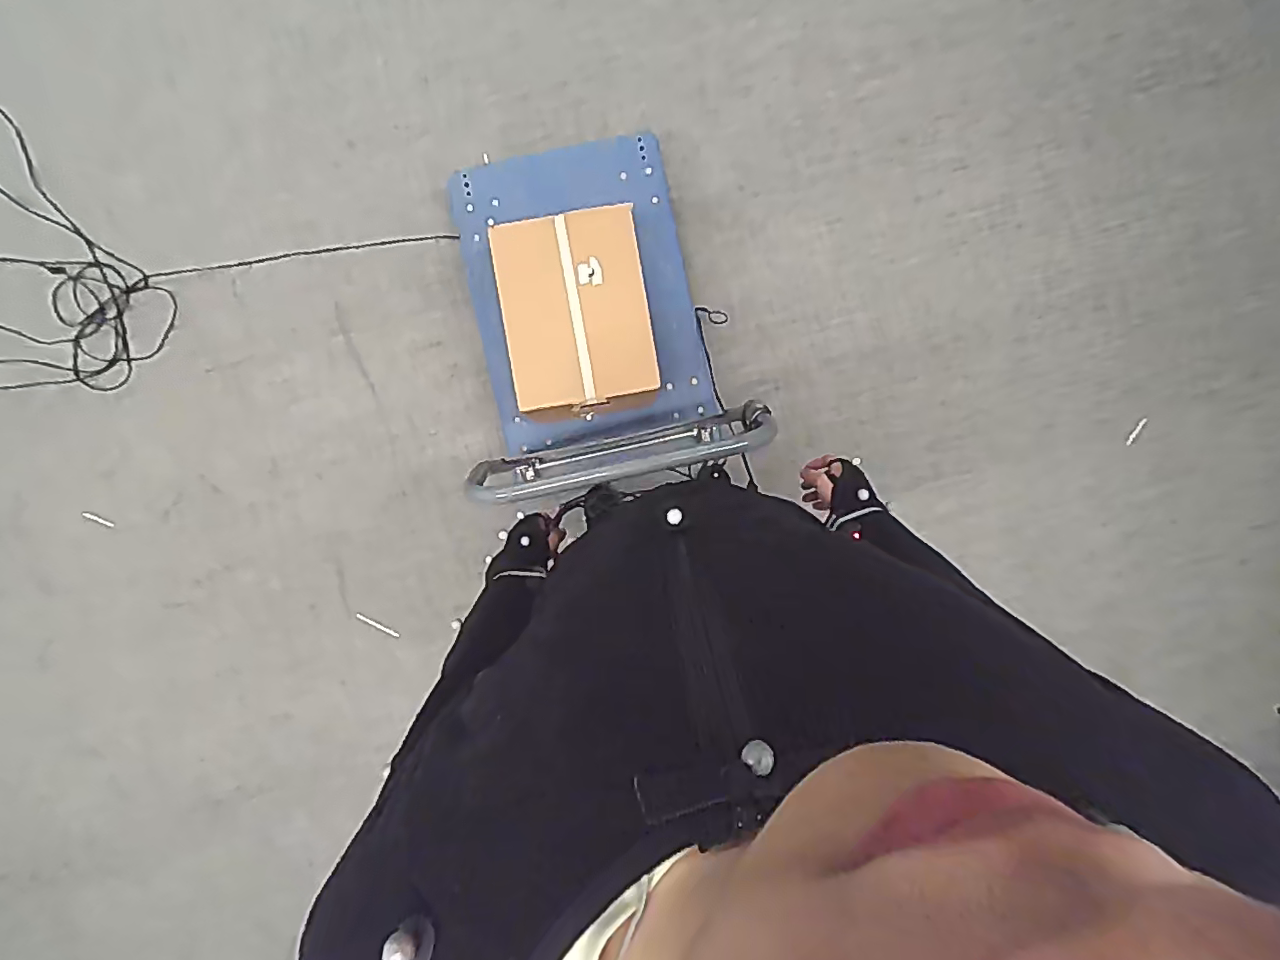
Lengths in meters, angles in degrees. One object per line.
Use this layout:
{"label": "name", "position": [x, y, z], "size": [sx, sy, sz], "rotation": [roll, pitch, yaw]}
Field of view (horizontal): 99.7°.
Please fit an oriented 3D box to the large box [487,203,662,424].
{"label": "large box", "position": [-0.140, -0.368, 1.294], "size": [0.320, 0.320, 0.408], "rotation": [-10, 91, -2]}
